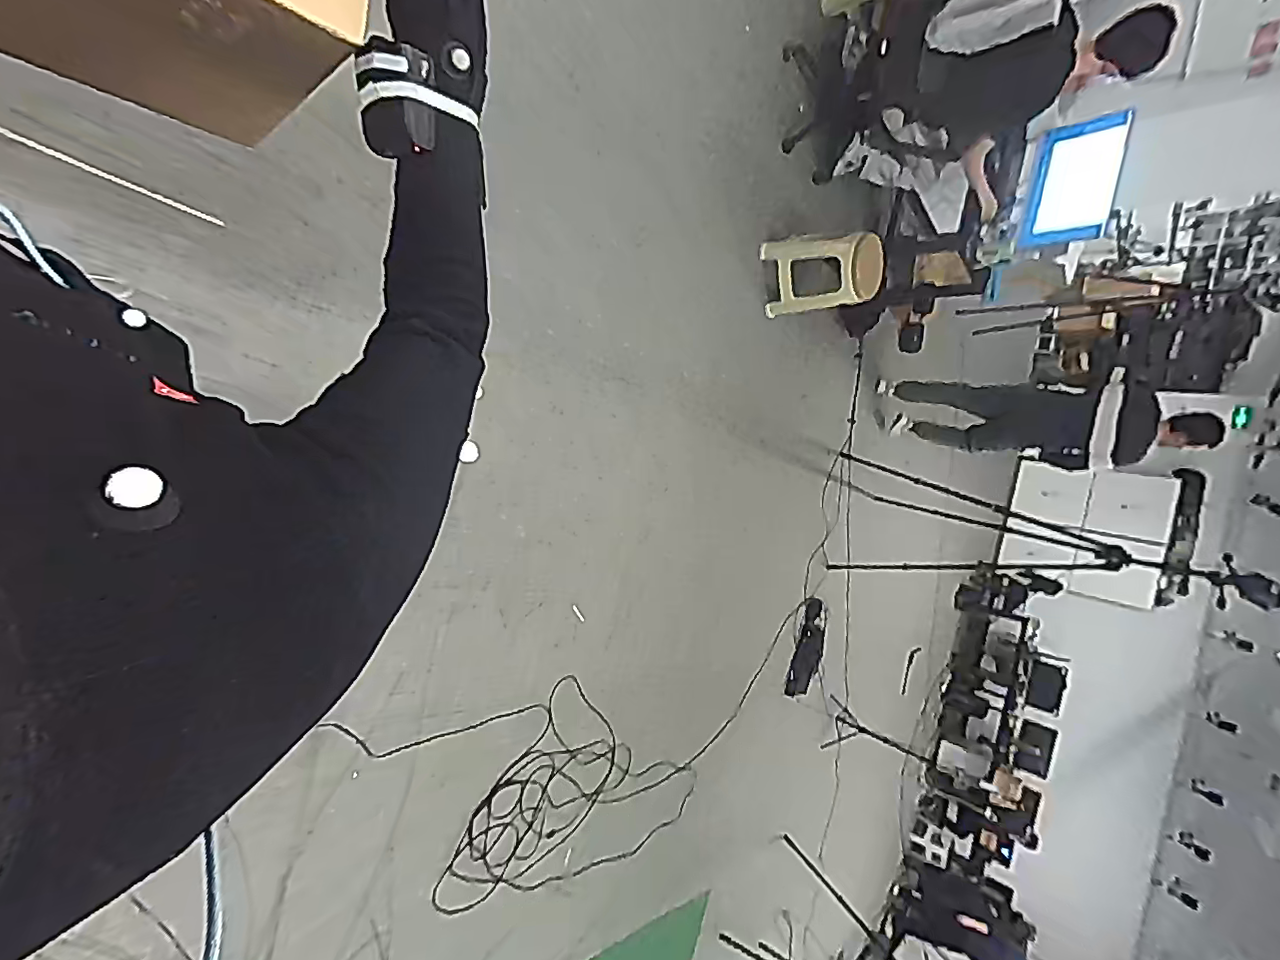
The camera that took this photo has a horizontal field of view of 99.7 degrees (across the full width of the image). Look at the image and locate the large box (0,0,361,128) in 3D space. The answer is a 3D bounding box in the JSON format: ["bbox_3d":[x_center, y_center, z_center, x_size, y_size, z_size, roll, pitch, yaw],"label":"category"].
[{"bbox_3d":[-0.413,-0.477,0.298,0.408,0.320,0.320,-1,103,-46],"label":"large box"}]
